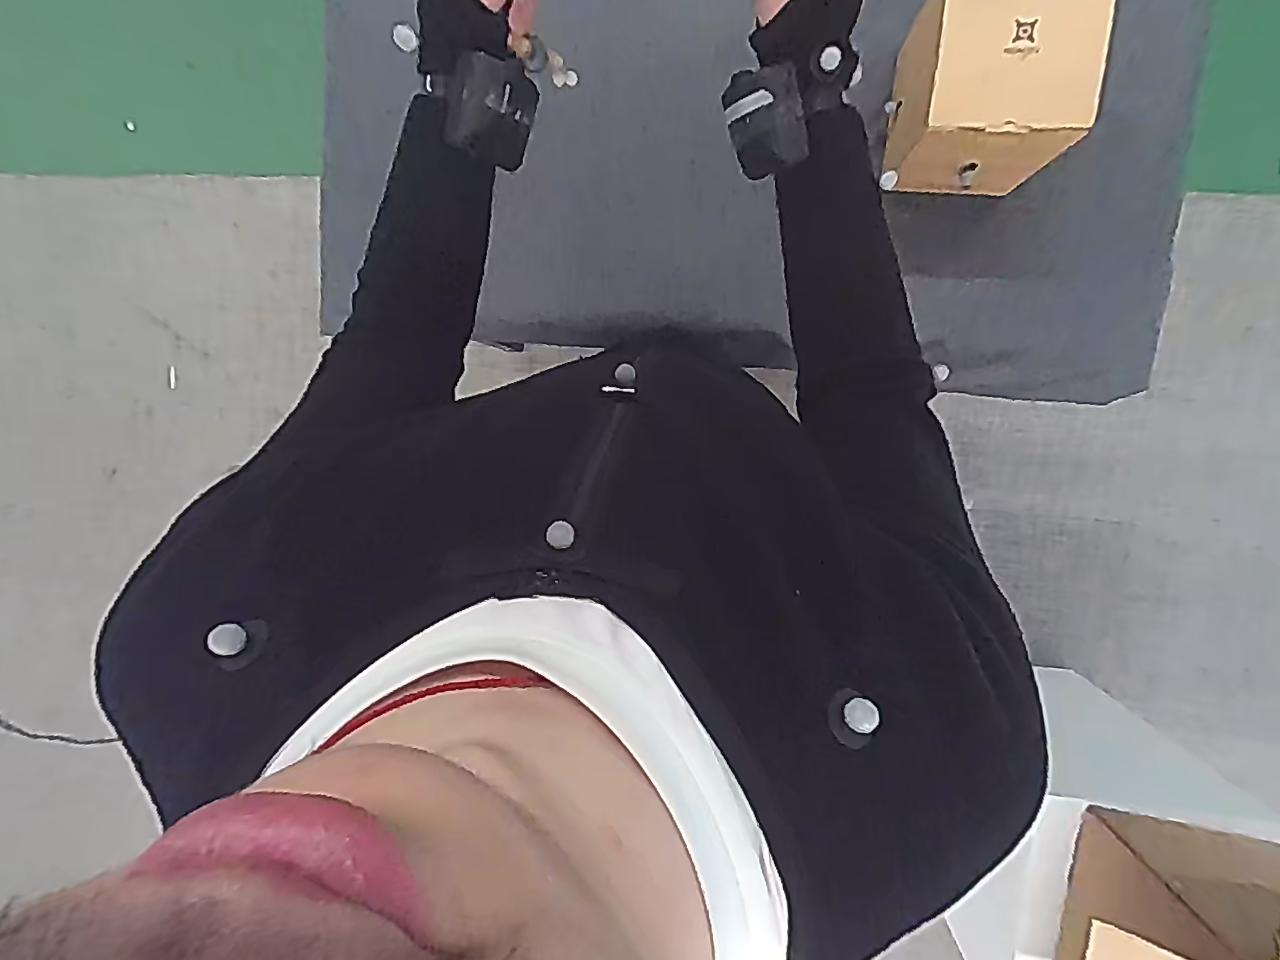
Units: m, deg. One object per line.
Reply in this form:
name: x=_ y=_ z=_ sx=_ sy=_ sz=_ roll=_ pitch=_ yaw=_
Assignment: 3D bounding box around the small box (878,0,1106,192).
small box: x=0.402 y=-0.466 z=0.649 sx=0.168 sy=0.176 sz=0.179 roll=6 pitch=99 yaw=6
